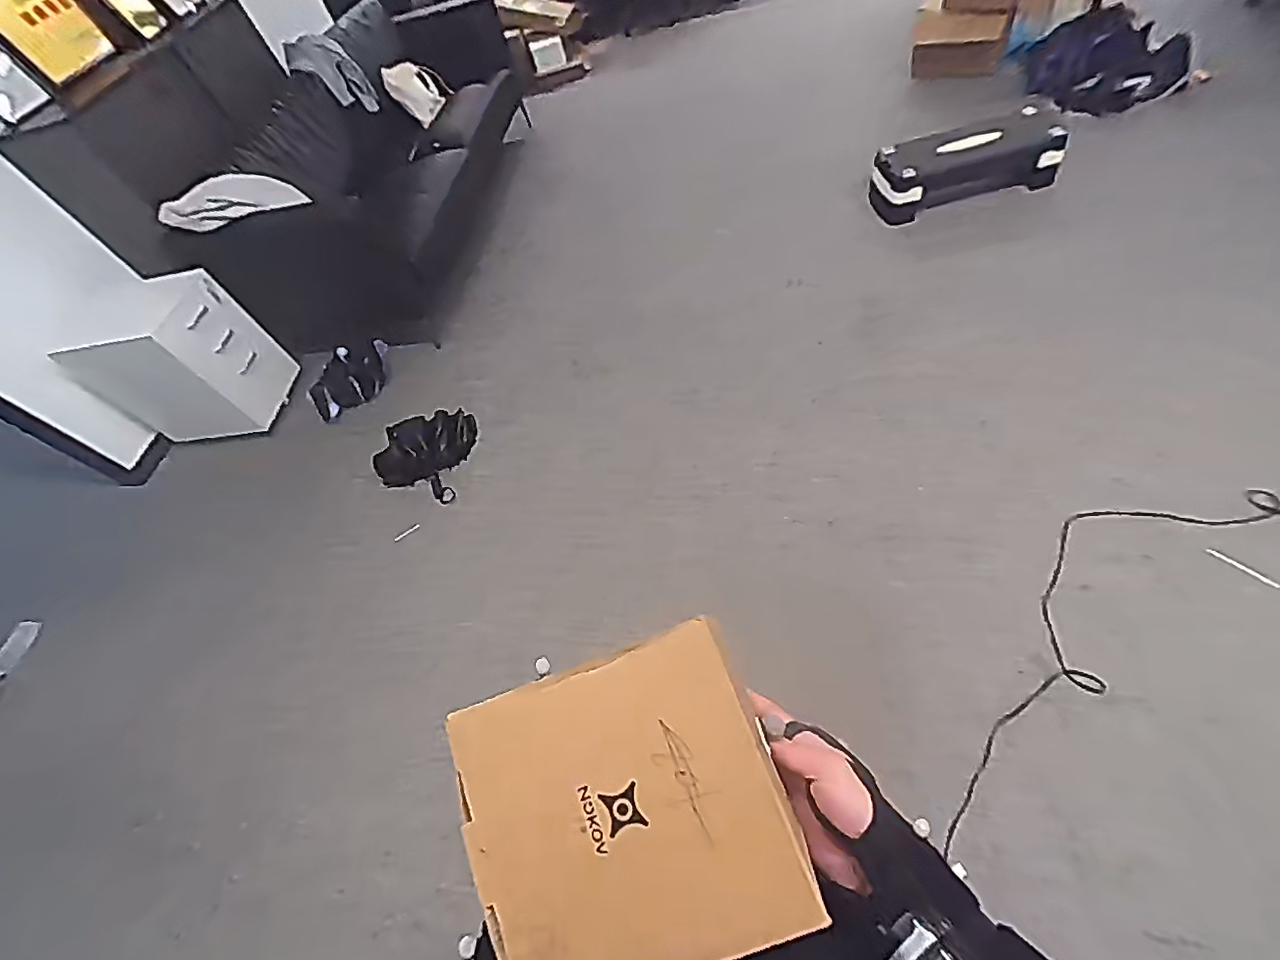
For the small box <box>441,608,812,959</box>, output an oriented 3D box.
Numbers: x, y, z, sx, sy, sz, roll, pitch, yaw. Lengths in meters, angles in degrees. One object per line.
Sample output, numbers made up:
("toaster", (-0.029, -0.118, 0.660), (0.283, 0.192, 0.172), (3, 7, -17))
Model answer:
("small box", (-0.003, 0.201, 0.381), (0.179, 0.176, 0.168), (-24, 74, 3))
